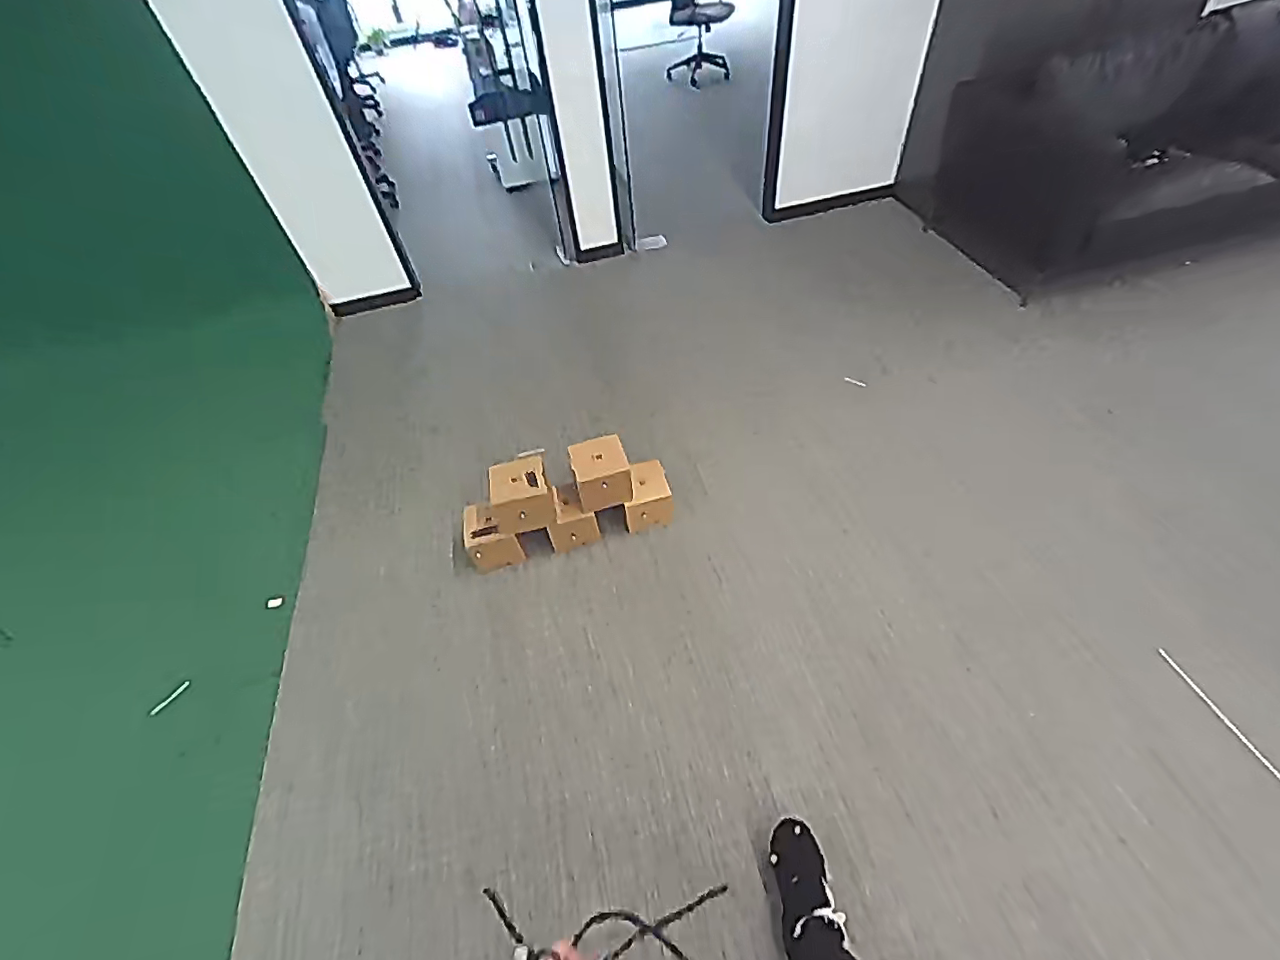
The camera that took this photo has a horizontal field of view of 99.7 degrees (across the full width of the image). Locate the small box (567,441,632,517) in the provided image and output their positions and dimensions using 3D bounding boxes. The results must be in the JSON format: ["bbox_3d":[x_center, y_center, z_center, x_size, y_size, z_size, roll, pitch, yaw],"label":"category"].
[{"bbox_3d":[-0.132,0.002,1.795,0.179,0.176,0.168,-14,50,-8],"label":"small box"}]

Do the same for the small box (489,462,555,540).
[{"bbox_3d":[-0.380,0.072,1.760,0.179,0.176,0.168,-13,49,-4],"label":"small box"}]

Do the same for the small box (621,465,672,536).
[{"bbox_3d":[0.013,0.081,1.929,0.168,0.176,0.179,-14,49,-6],"label":"small box"}]
